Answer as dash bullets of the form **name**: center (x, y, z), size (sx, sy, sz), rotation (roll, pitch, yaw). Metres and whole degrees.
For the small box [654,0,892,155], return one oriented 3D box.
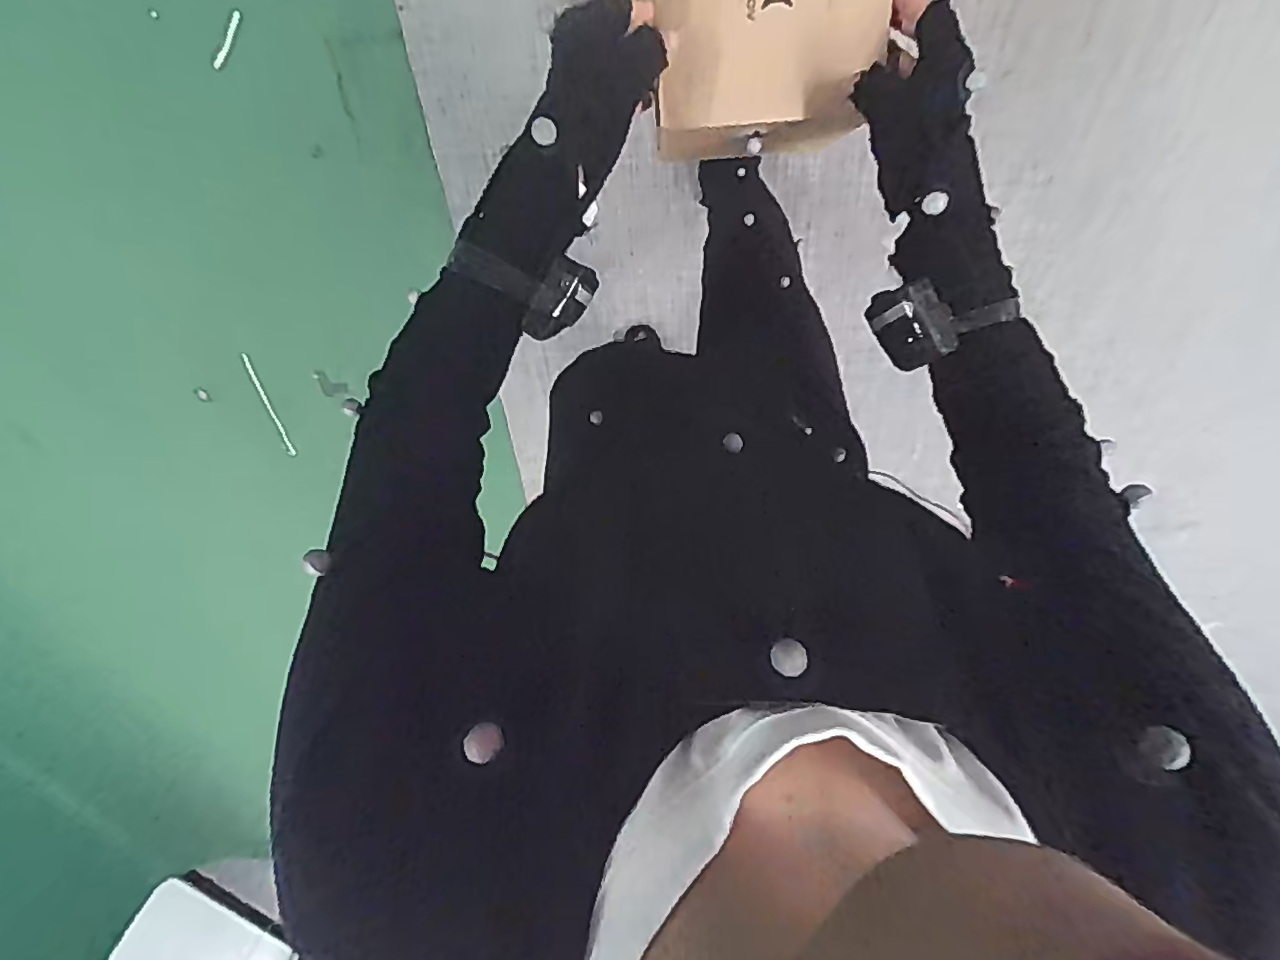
- **small box**: center (0.101, -0.394, 0.471), size (0.179, 0.176, 0.168), rotation (-3, 113, 2)
